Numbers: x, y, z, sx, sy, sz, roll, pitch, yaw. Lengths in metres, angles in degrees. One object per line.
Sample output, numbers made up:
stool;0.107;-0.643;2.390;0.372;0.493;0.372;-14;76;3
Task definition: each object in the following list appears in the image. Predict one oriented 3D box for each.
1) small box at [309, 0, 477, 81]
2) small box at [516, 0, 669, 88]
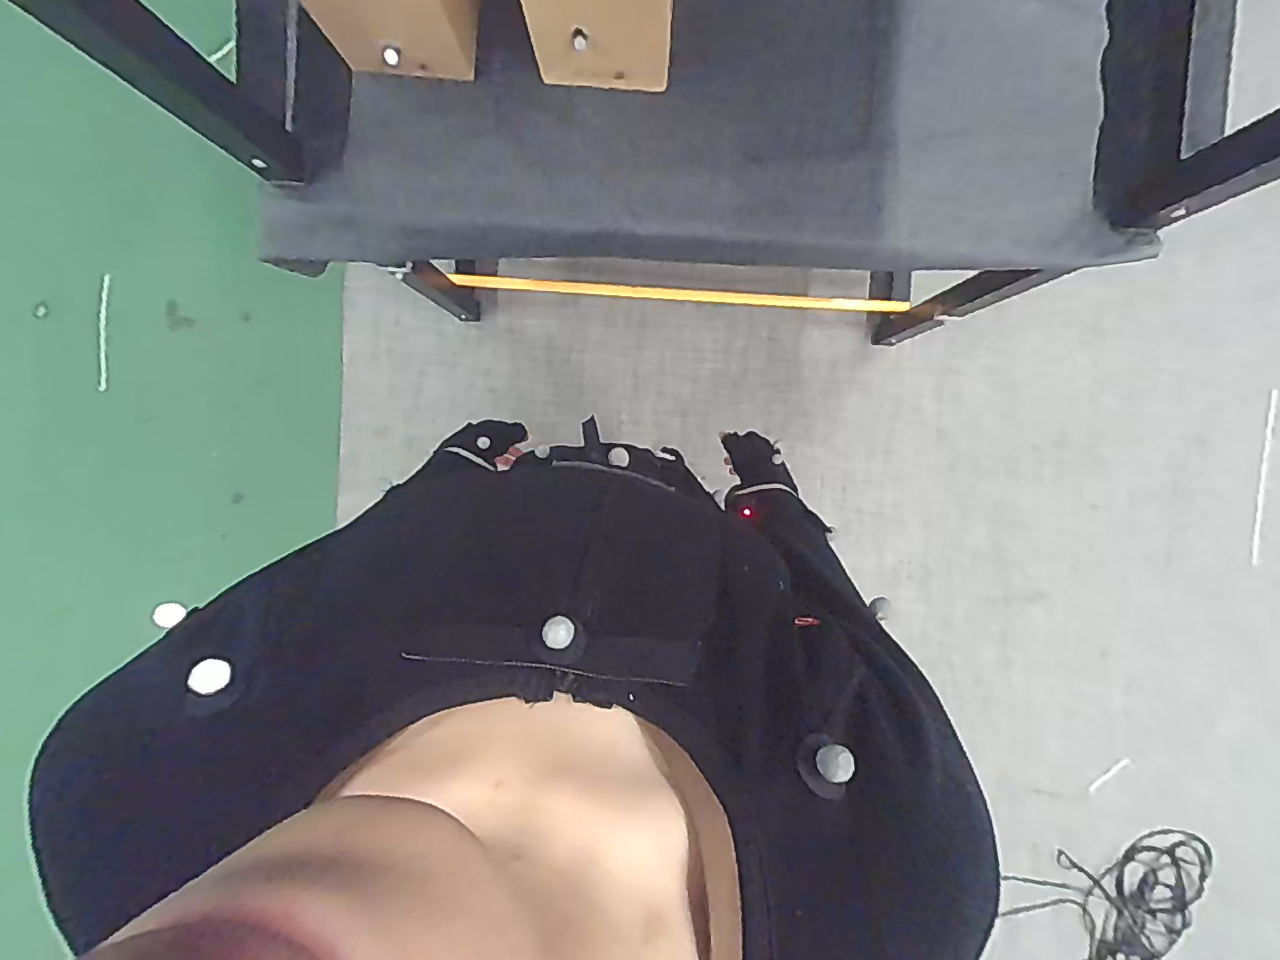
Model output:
small box;-0.299;-0.622;0.637;0.168;0.176;0.179;4;94;0
small box;-0.047;-0.606;0.640;0.168;0.176;0.179;4;93;0
